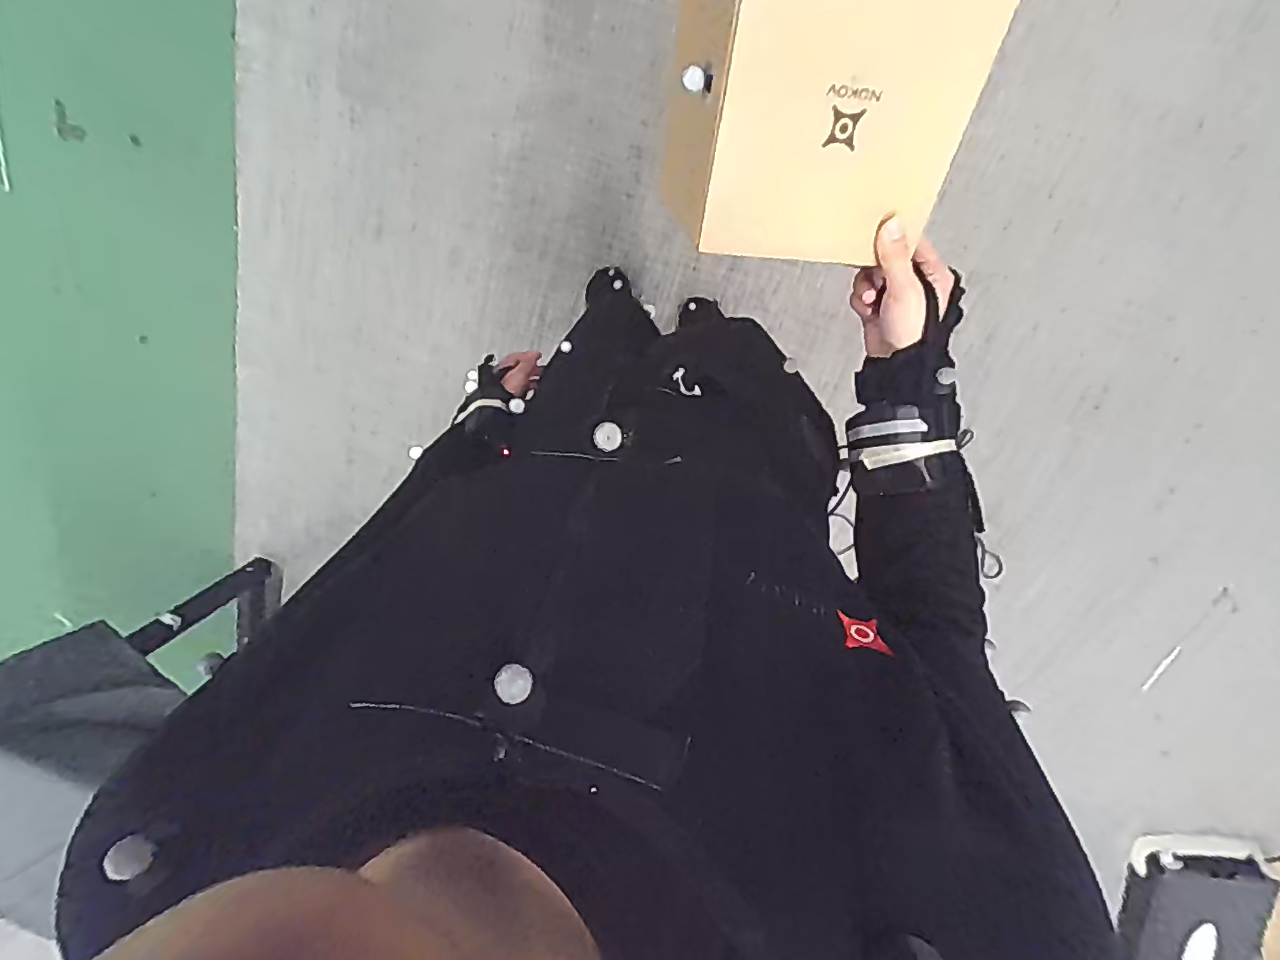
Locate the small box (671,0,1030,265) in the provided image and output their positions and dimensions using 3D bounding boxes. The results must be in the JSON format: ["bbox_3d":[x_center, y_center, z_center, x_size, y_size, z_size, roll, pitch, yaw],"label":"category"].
[{"bbox_3d":[0.123,-0.278,0.393,0.168,0.176,0.179,0,129,-10],"label":"small box"}]
